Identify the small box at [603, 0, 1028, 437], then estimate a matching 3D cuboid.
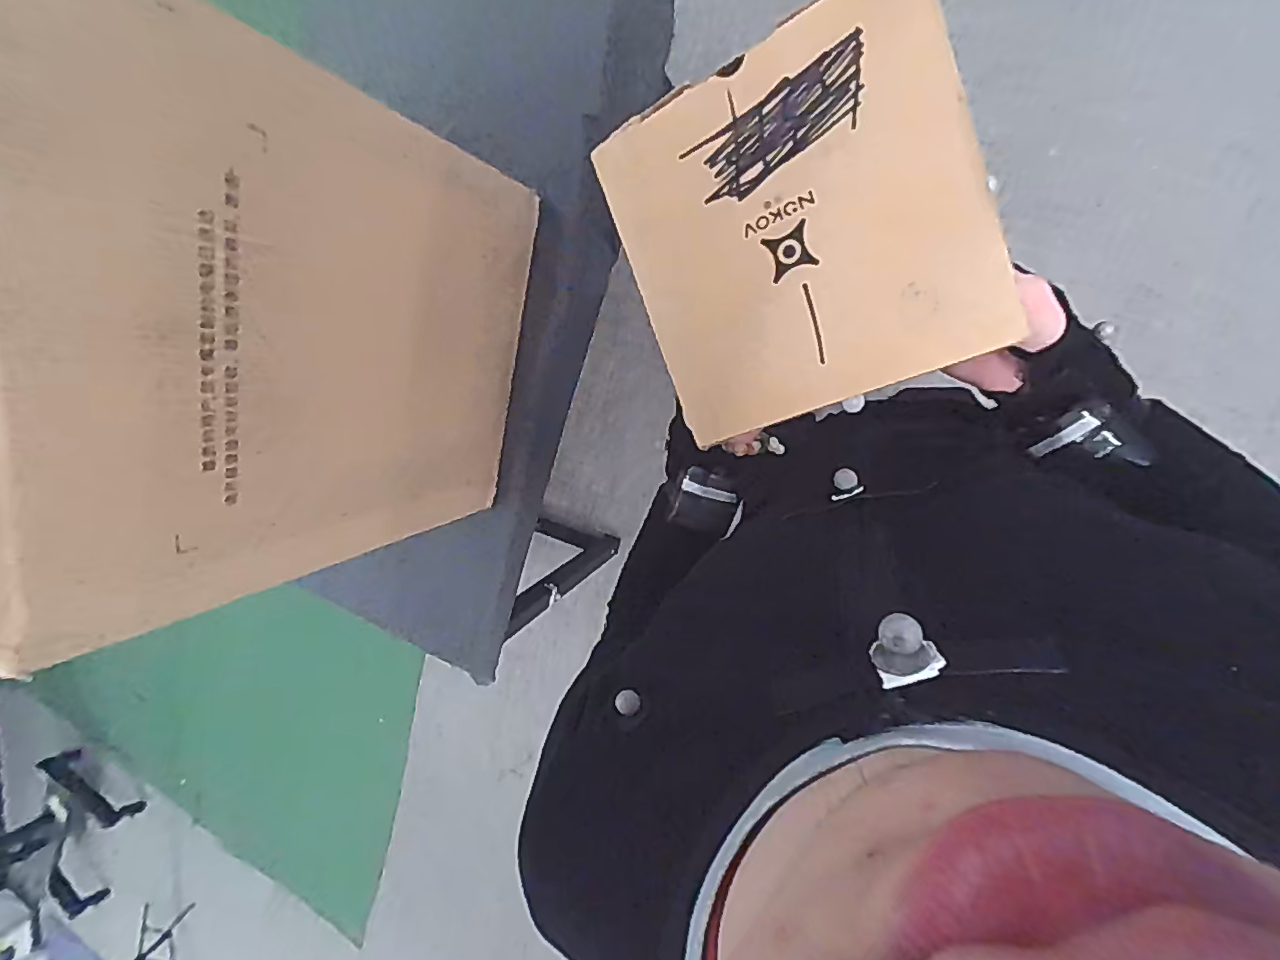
[{"bbox_3d":[0.107,-0.142,0.338,0.168,0.176,0.179,-17,96,28],"label":"small box"}]
